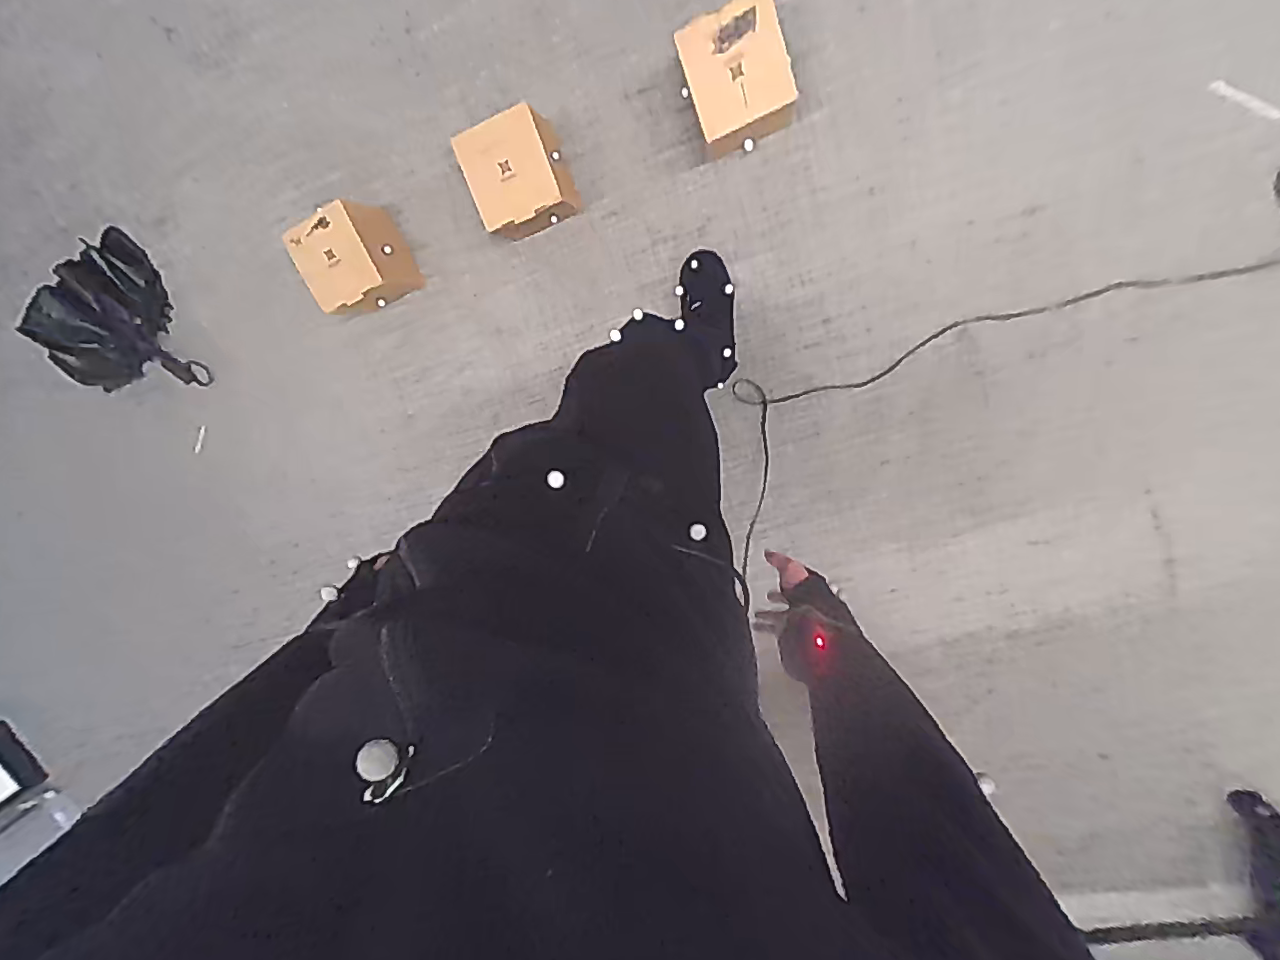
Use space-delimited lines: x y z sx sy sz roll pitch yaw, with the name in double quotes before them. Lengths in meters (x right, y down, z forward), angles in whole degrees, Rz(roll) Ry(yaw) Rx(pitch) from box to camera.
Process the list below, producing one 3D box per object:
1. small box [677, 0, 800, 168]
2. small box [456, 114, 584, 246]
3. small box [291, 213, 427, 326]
"small box" 0.179 -0.705 0.983 0.168 0.176 0.179 -18 105 16
"small box" -0.232 -0.592 1.098 0.168 0.176 0.179 -18 103 14
"small box" -0.613 -0.465 1.206 0.168 0.176 0.179 -22 104 16
